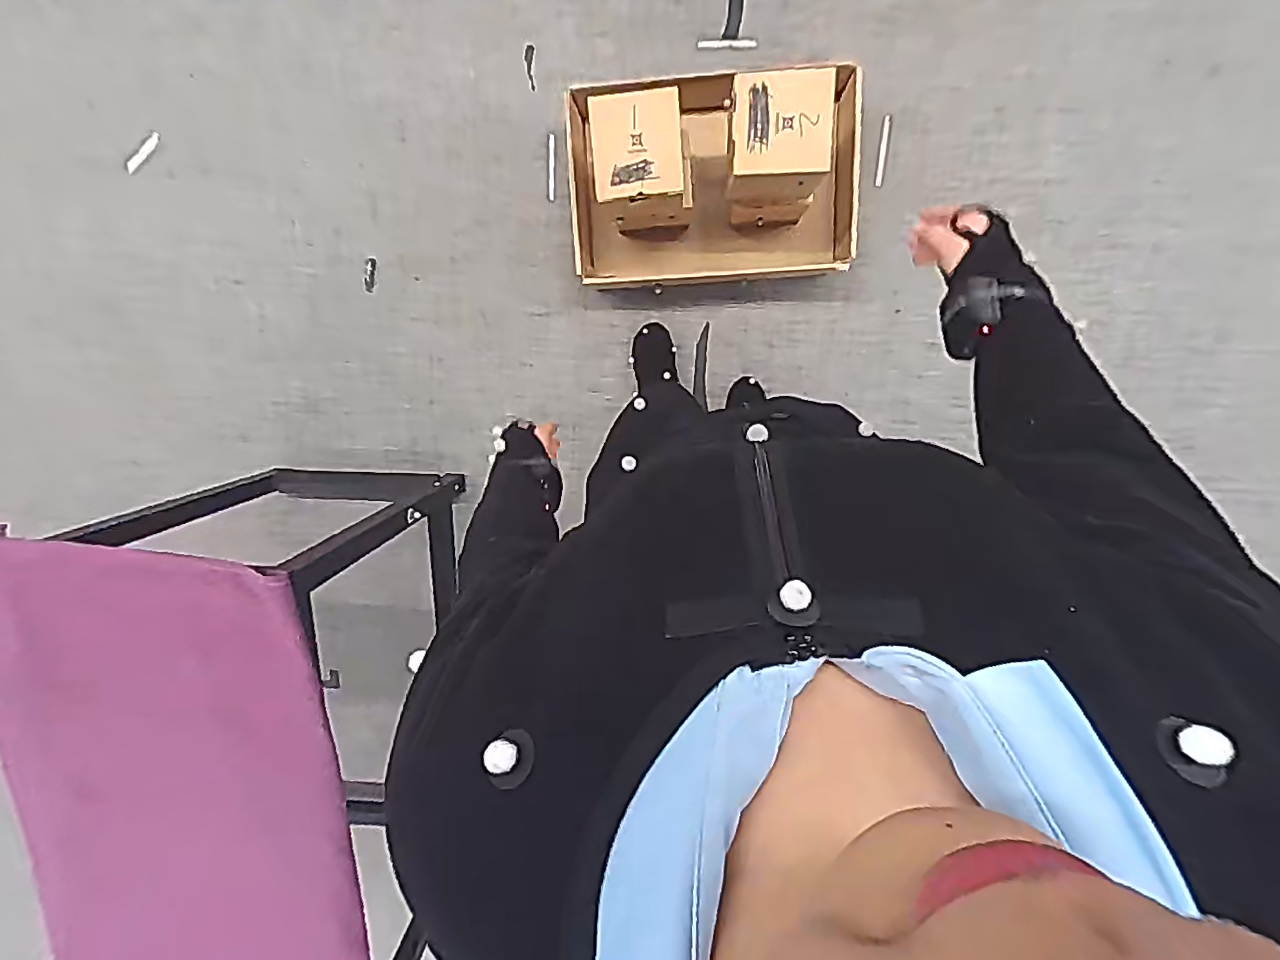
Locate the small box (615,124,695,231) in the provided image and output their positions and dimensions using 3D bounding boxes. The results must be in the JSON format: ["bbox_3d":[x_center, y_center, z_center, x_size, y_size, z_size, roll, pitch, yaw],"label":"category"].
[{"bbox_3d":[0.027,-0.672,1.219,0.179,0.176,0.168,-4,102,4],"label":"small box"}]

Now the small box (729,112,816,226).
[{"bbox_3d":[0.286,-0.680,1.199,0.168,0.176,0.179,-1,103,6],"label":"small box"}]

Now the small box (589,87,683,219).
[{"bbox_3d":[0.000,-0.627,1.062,0.168,0.176,0.179,-4,102,4],"label":"small box"}]
